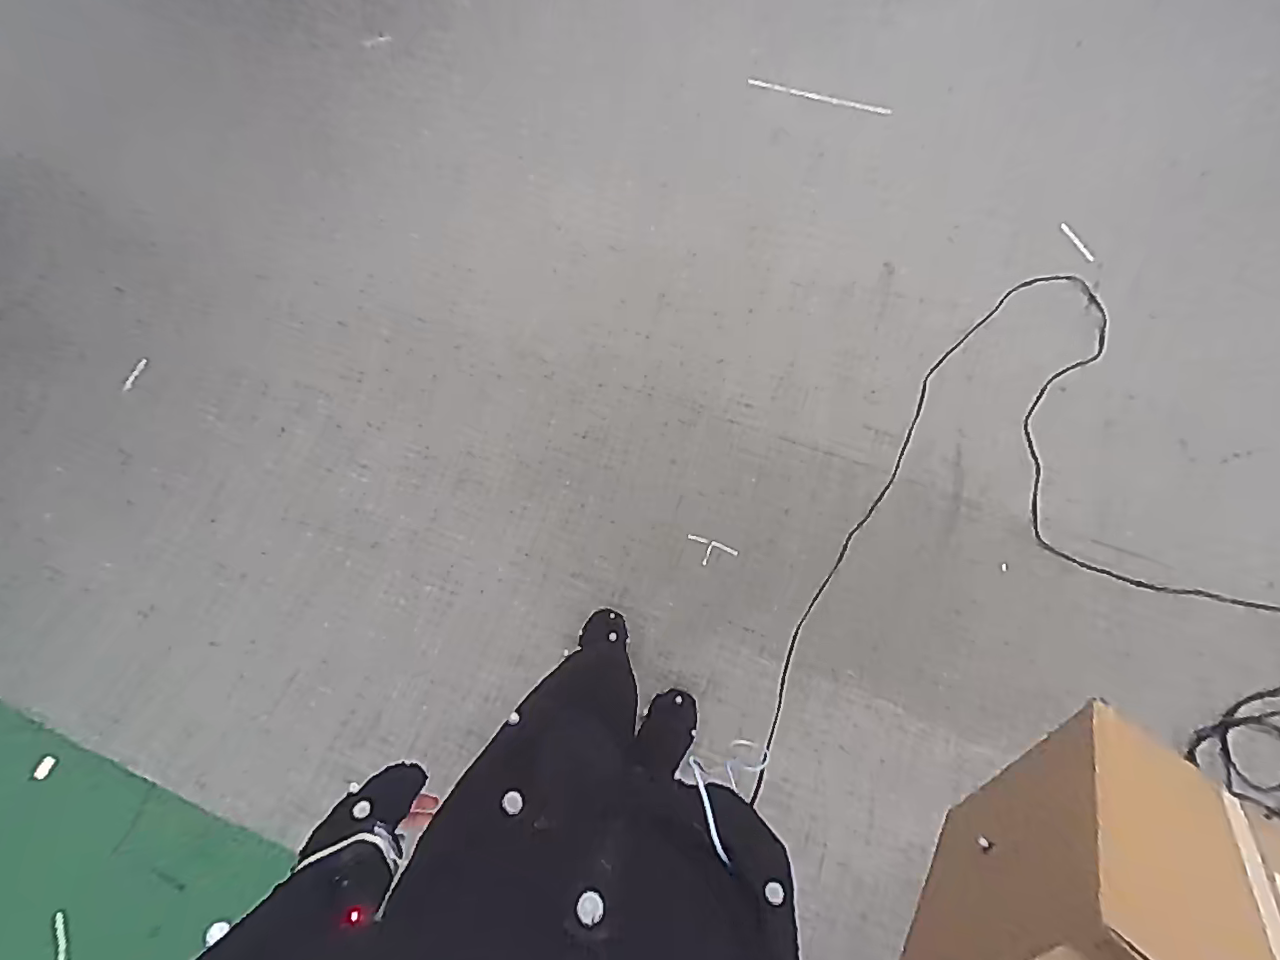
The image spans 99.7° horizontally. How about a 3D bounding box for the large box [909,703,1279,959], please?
[{"bbox_3d":[0.547,0.548,0.605,0.320,0.408,0.320,41,121,25],"label":"large box"}]
